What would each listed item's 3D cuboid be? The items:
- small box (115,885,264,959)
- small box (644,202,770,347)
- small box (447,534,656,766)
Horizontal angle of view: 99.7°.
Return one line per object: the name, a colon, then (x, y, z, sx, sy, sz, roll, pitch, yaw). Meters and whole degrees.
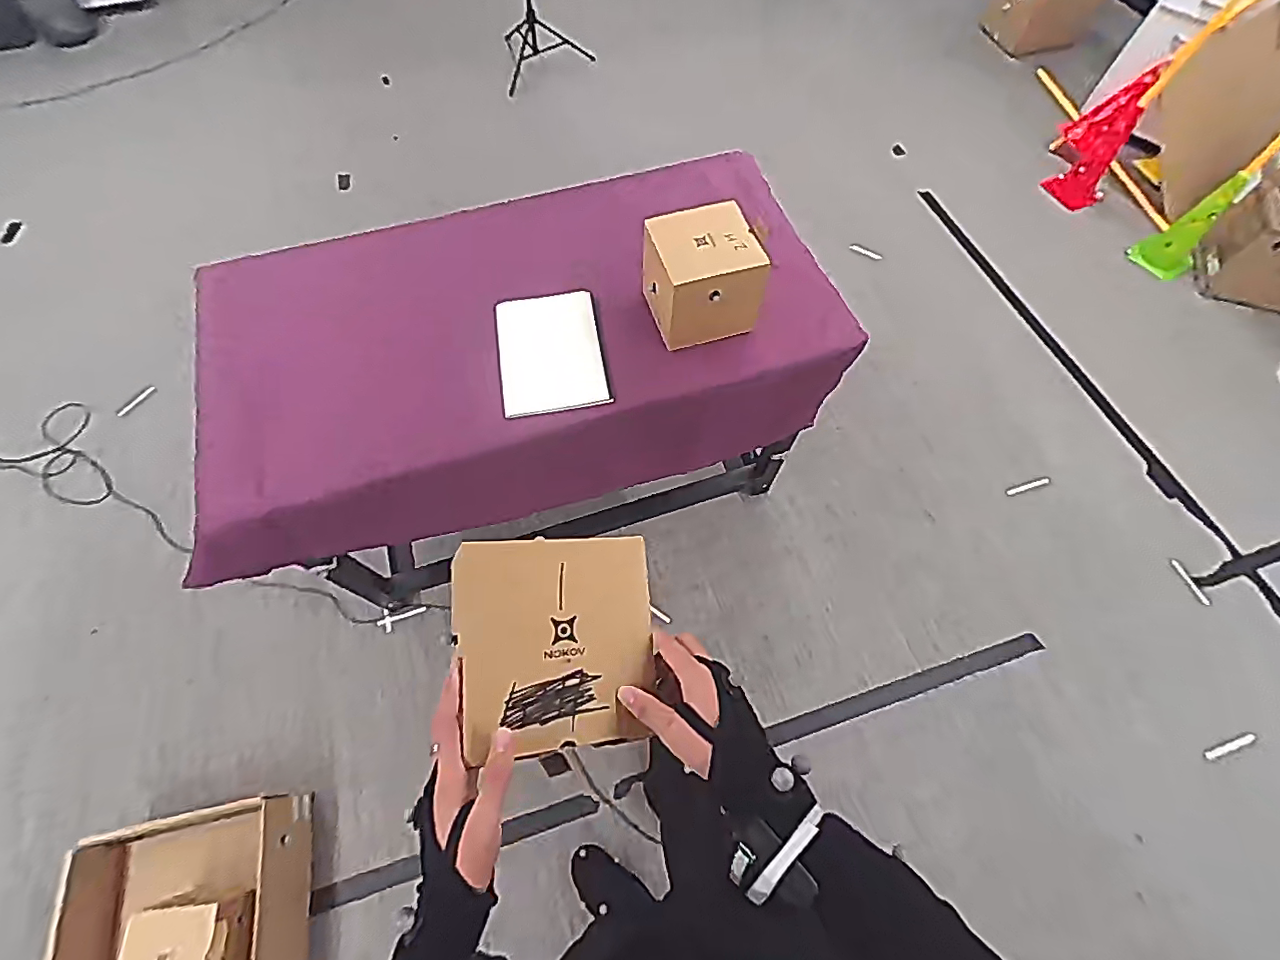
small box: (-0.912, 0.948, 1.100, 0.179, 0.176, 0.168, -4, 65, -3)
small box: (0.113, -0.368, 0.987, 0.179, 0.176, 0.168, -15, 66, -8)
small box: (-0.096, 0.152, 0.524, 0.168, 0.176, 0.179, 1, 75, -22)
